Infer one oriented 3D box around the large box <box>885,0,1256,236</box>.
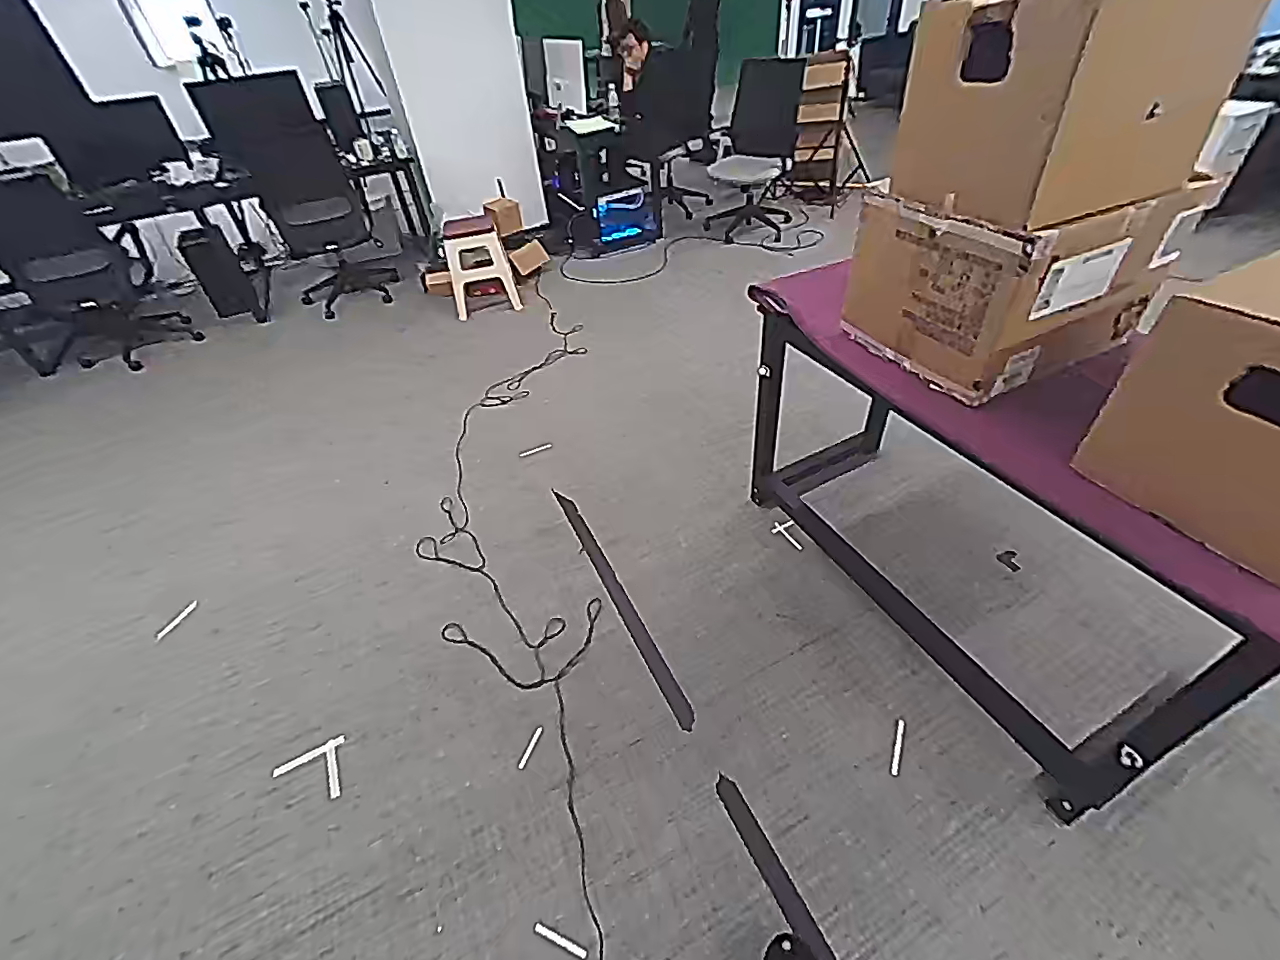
[{"bbox_3d":[0.719,-0.662,0.952,0.408,0.320,0.320,-21,40,-15],"label":"large box"}]
